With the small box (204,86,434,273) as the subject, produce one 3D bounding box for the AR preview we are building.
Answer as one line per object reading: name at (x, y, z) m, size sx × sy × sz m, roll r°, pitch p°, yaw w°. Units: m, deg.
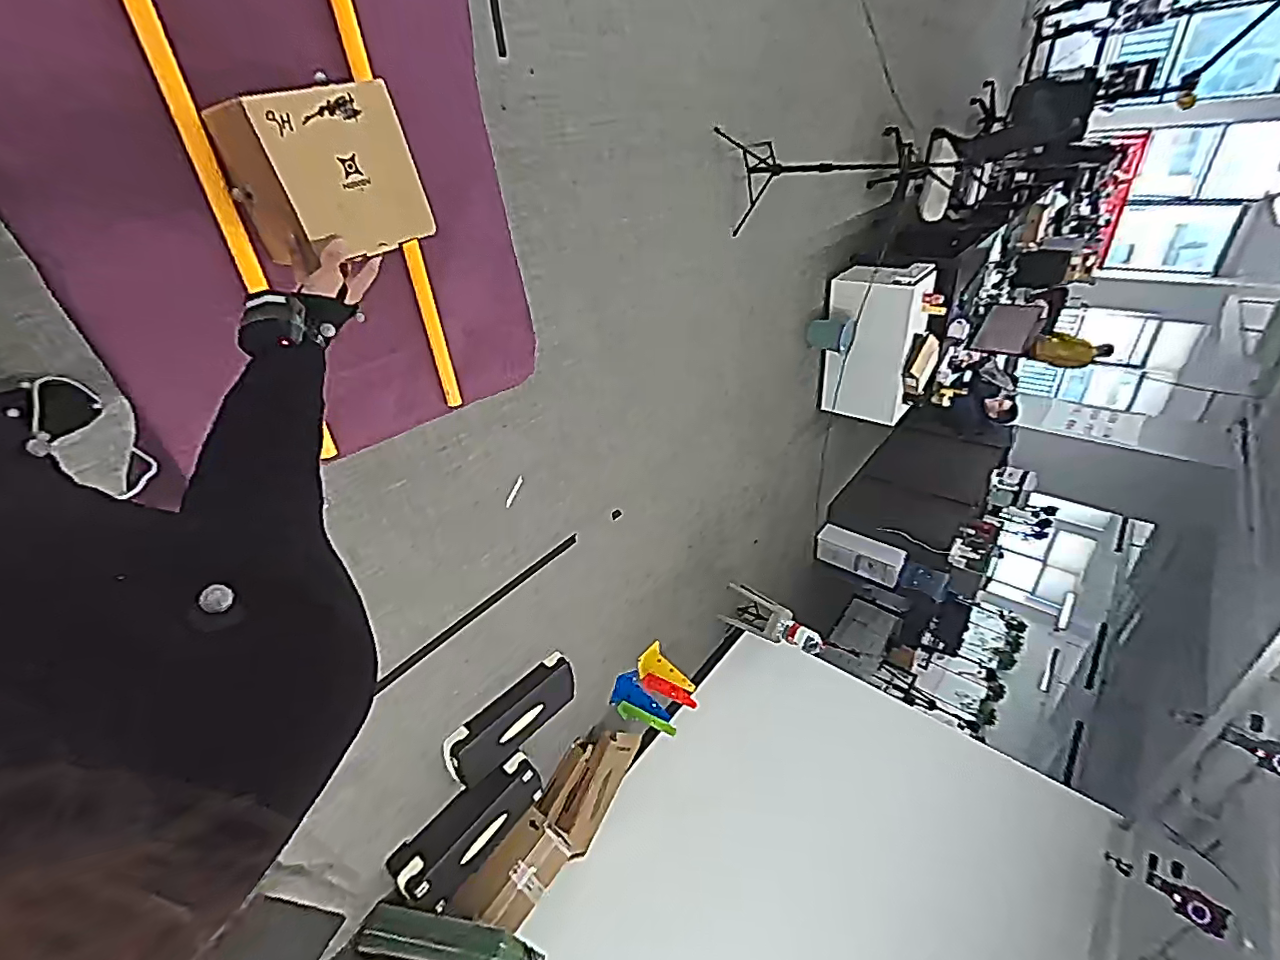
small box at (-0.406, -0.387, 0.697) m, size 0.168 × 0.176 × 0.179 m, roll -40°, pitch 136°, yaw -34°
